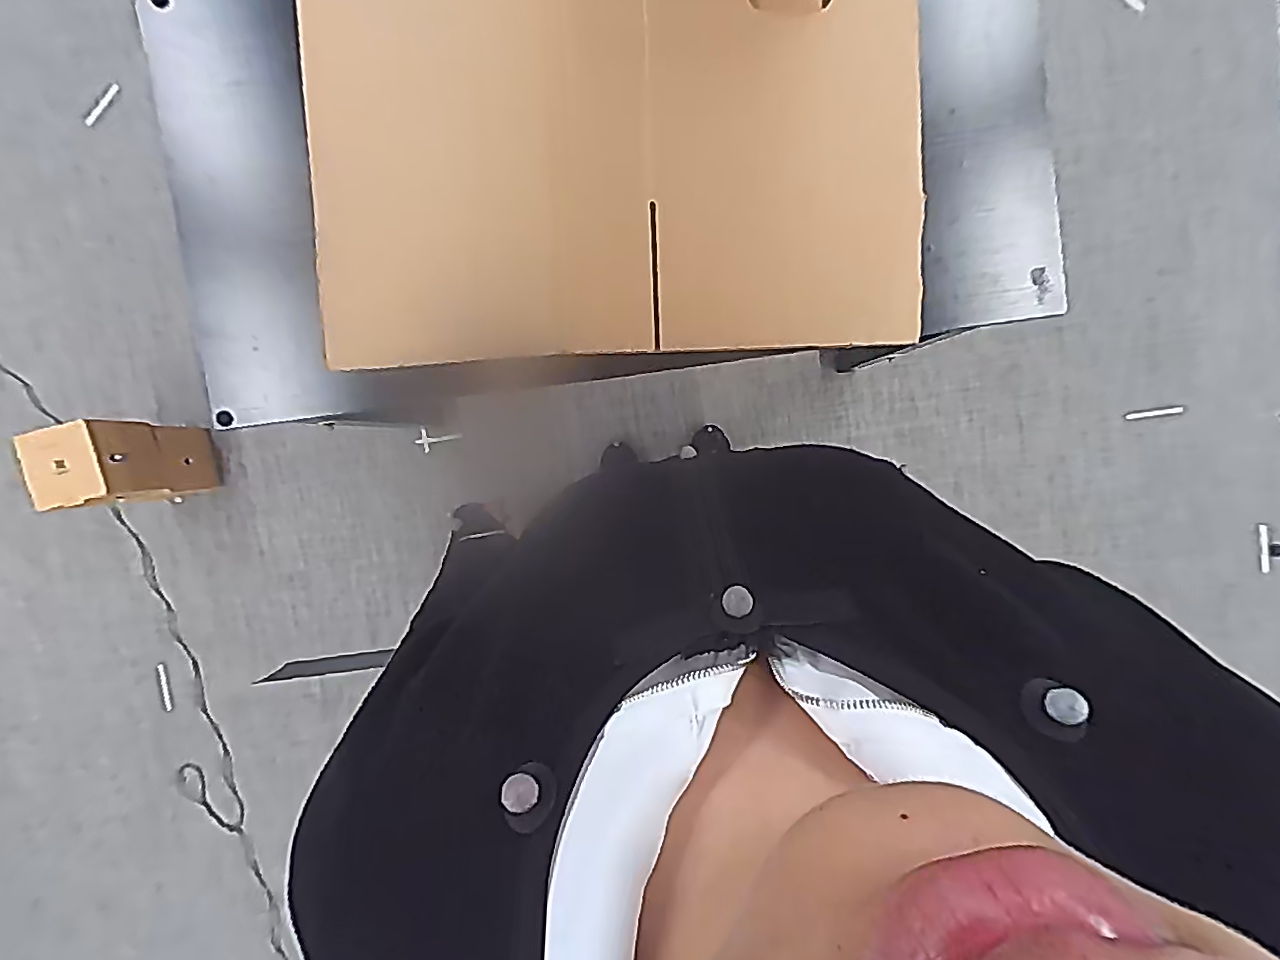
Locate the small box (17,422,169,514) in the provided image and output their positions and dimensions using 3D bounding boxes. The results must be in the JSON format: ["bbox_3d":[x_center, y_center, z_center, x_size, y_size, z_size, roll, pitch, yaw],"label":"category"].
[{"bbox_3d":[-1.267,-0.031,1.268,0.168,0.176,0.179,-15,92,1],"label":"small box"}]

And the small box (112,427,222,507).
[{"bbox_3d":[-1.262,-0.036,1.431,0.168,0.176,0.179,-12,94,2],"label":"small box"}]
